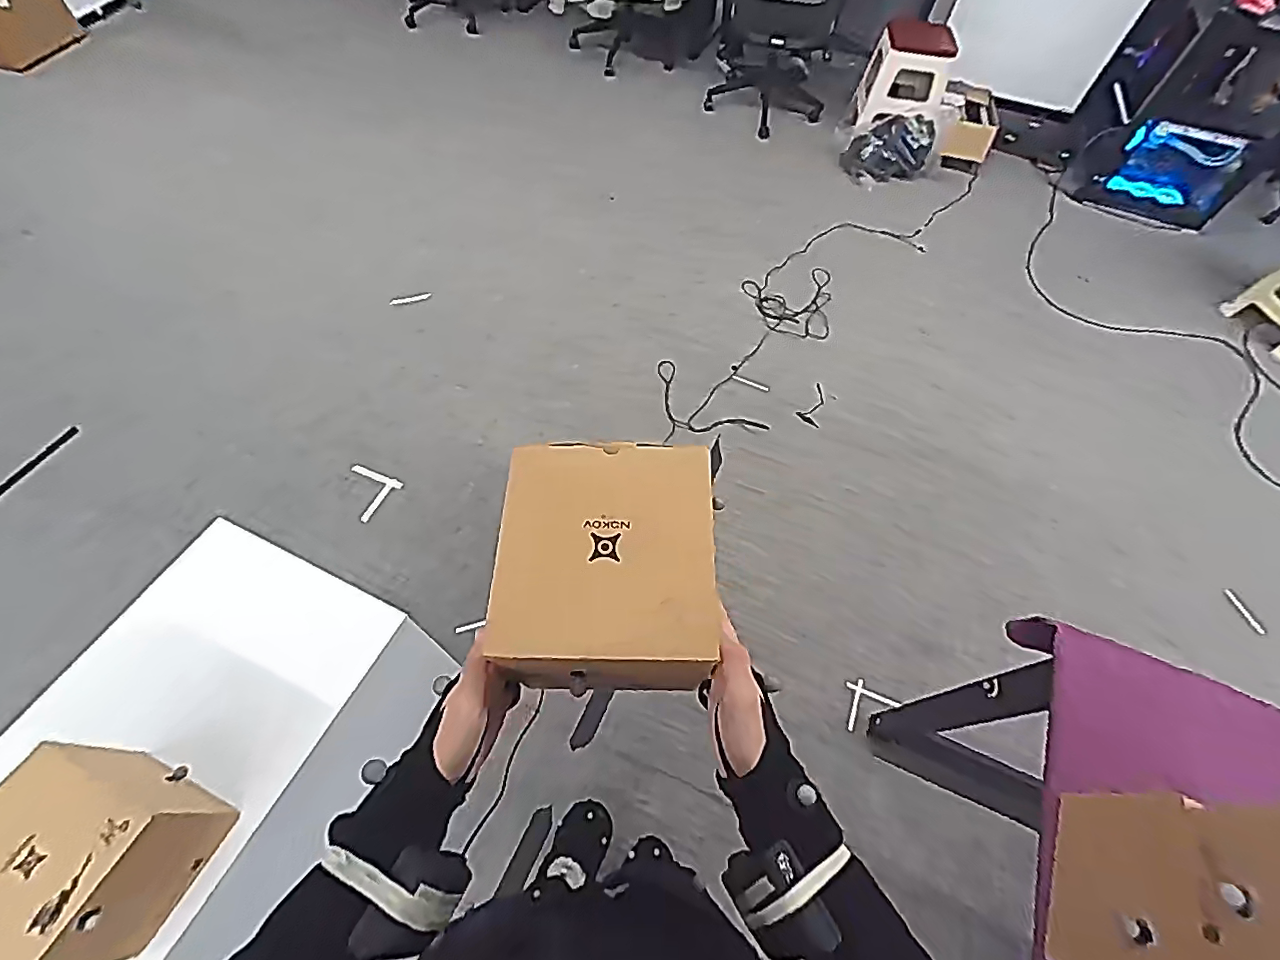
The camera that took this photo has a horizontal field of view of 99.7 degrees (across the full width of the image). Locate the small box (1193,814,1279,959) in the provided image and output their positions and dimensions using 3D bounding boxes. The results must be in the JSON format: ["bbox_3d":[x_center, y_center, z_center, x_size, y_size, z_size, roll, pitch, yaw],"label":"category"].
[{"bbox_3d":[0.568,0.364,0.389,0.179,0.176,0.168,25,61,12],"label":"small box"}]

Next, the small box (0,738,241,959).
[{"bbox_3d":[-0.633,0.430,0.629,0.179,0.176,0.168,22,60,11],"label":"small box"}]

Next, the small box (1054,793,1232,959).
[{"bbox_3d":[0.553,0.441,0.533,0.168,0.176,0.179,26,61,11],"label":"small box"}]

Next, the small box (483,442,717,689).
[{"bbox_3d":[-0.024,0.083,0.476,0.168,0.176,0.179,0,61,1],"label":"small box"}]
